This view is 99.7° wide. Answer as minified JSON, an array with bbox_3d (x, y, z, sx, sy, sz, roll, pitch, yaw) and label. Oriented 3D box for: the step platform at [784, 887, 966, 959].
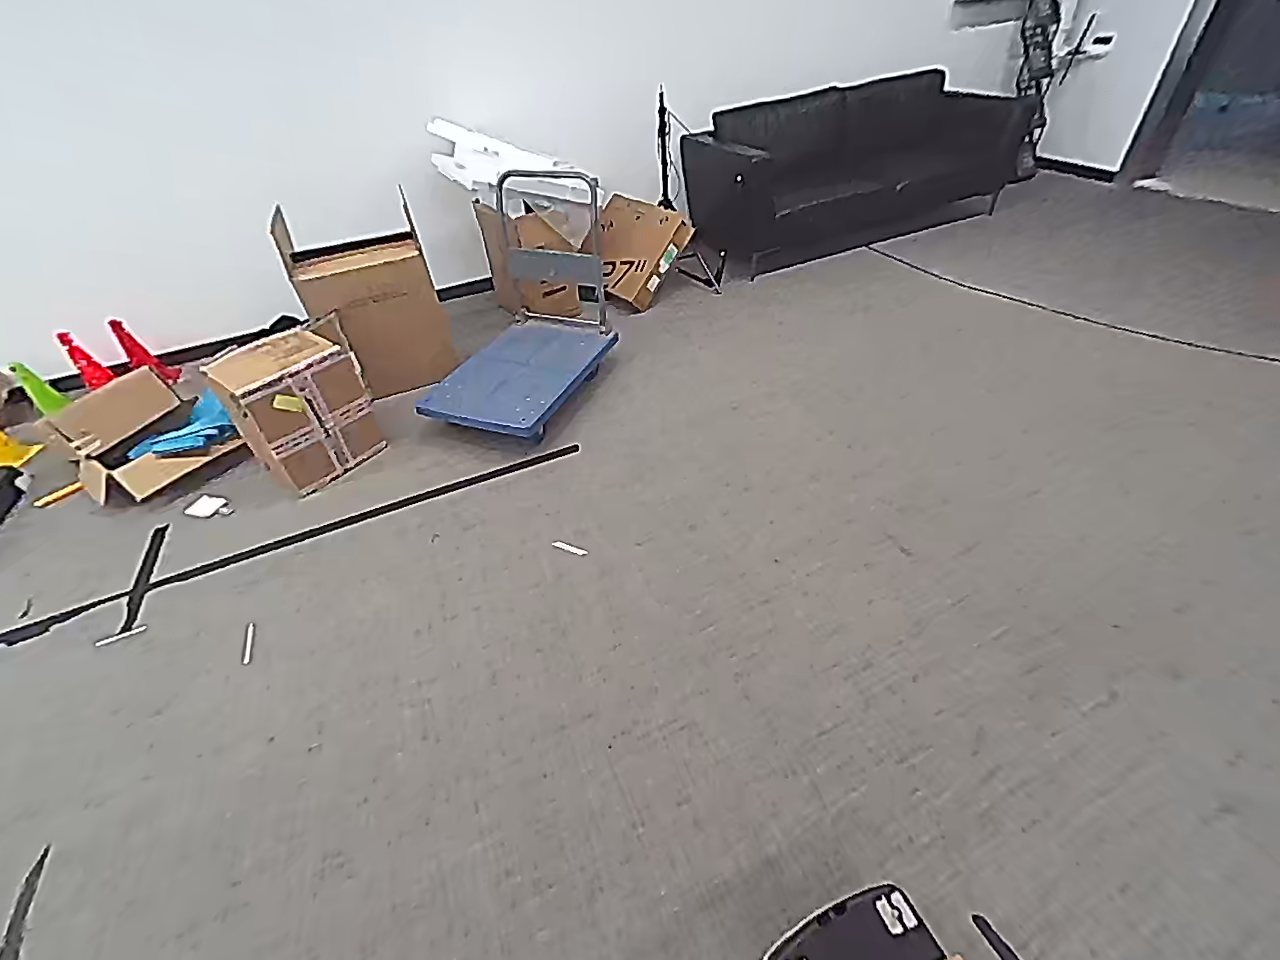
[{"bbox_3d":[0.496,1.001,0.756,0.286,0.204,0.684,-19,42,-16],"label":"step platform"}]
